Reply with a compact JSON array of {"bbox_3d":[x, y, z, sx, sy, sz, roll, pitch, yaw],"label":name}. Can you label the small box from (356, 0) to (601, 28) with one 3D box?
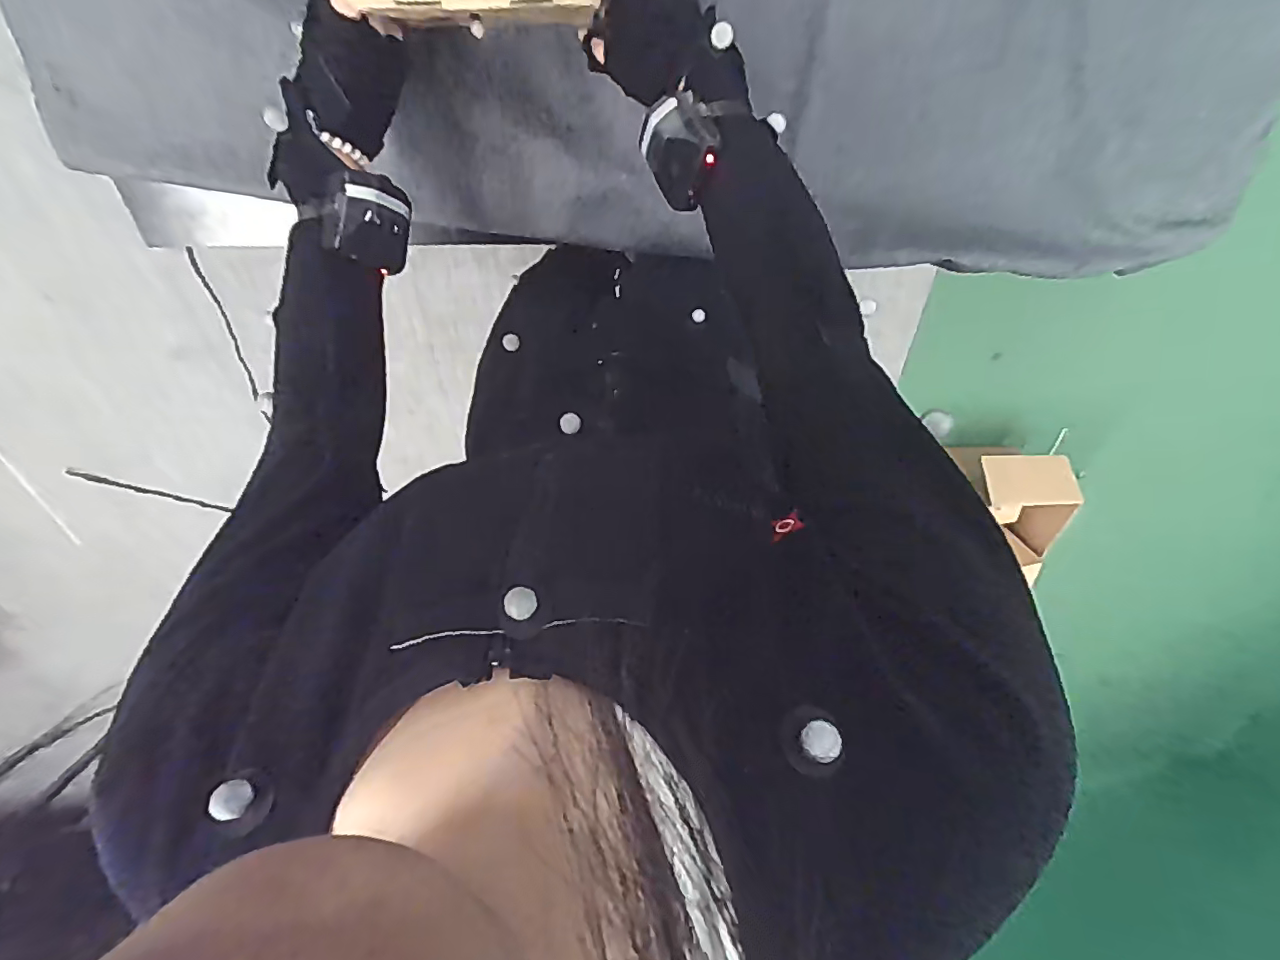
[{"bbox_3d":[-0.118,-0.433,0.376,0.168,0.176,0.179,-5,129,-5],"label":"small box"}]
